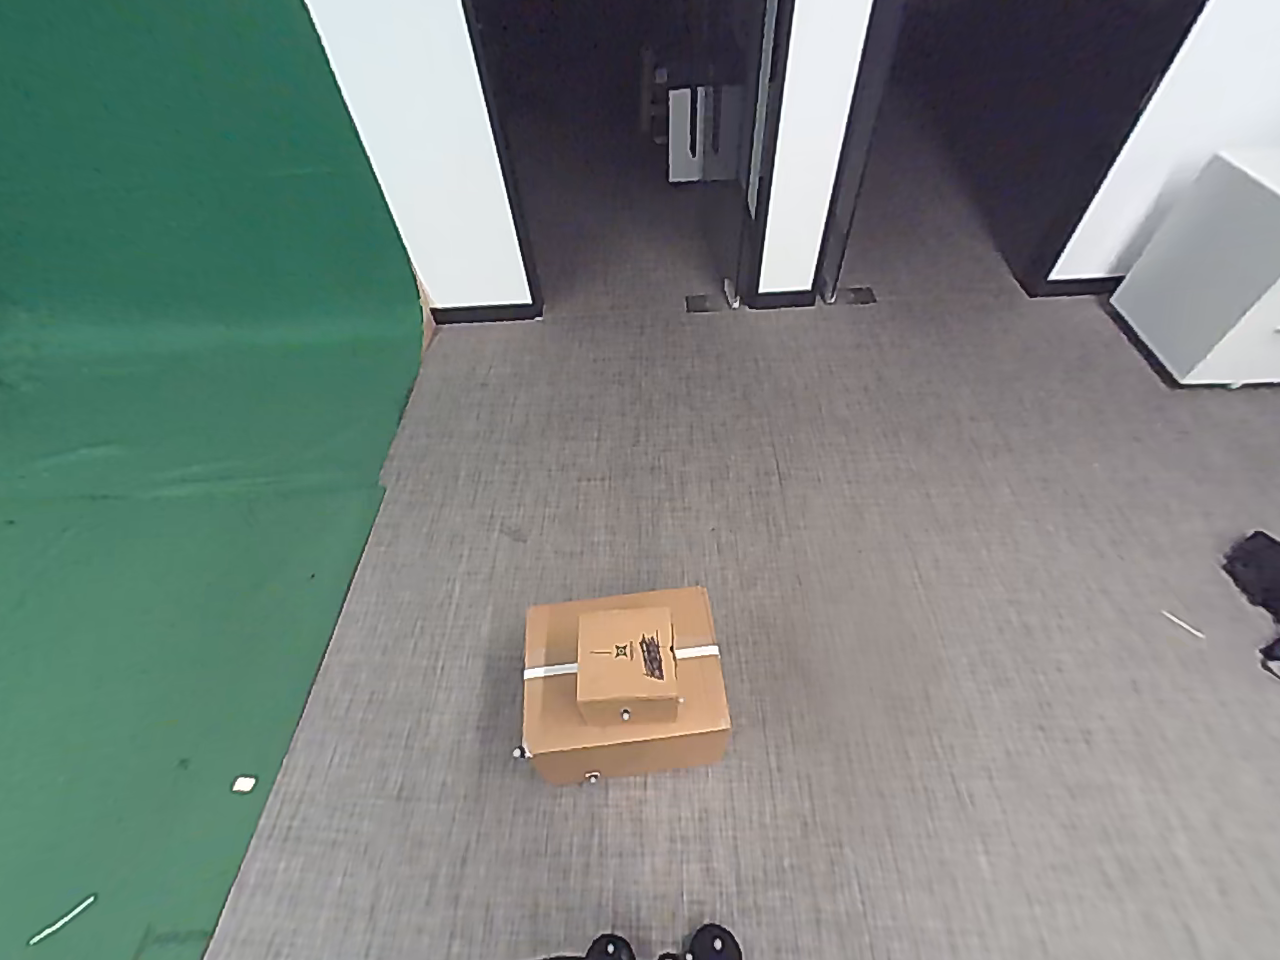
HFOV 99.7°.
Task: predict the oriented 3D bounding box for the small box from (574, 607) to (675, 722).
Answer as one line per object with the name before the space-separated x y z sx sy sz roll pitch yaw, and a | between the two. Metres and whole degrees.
small box | -0.026 0.359 1.042 0.179 0.176 0.168 -4 52 2
